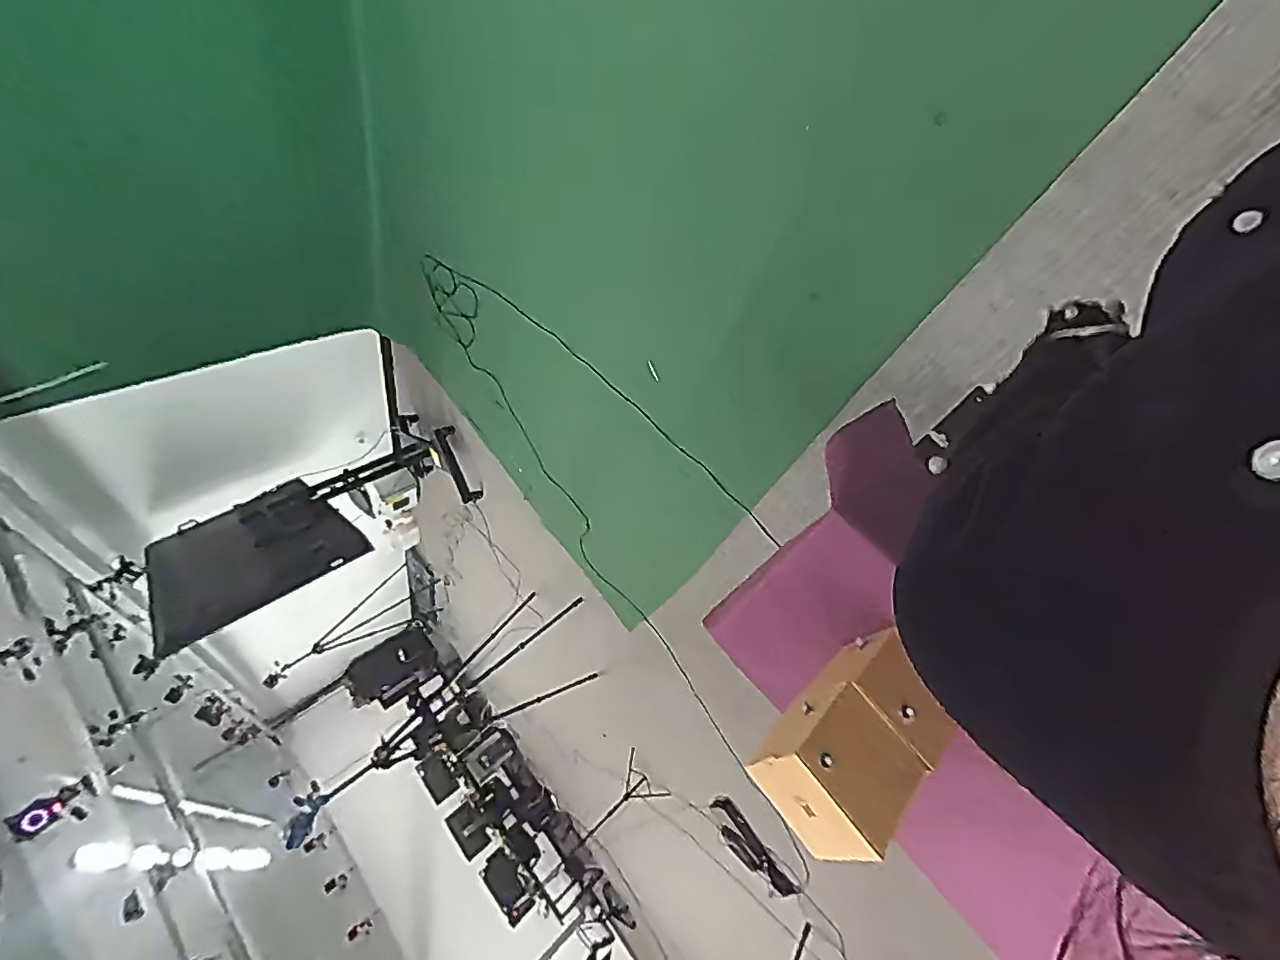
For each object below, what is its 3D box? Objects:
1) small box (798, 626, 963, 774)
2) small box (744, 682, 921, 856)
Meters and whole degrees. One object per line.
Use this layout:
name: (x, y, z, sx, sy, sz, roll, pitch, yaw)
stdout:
small box: (0.428, 0.394, 0.963, 0.179, 0.176, 0.168, 51, 144, 13)
small box: (0.311, 0.465, 0.876, 0.179, 0.176, 0.168, 50, 144, 15)
